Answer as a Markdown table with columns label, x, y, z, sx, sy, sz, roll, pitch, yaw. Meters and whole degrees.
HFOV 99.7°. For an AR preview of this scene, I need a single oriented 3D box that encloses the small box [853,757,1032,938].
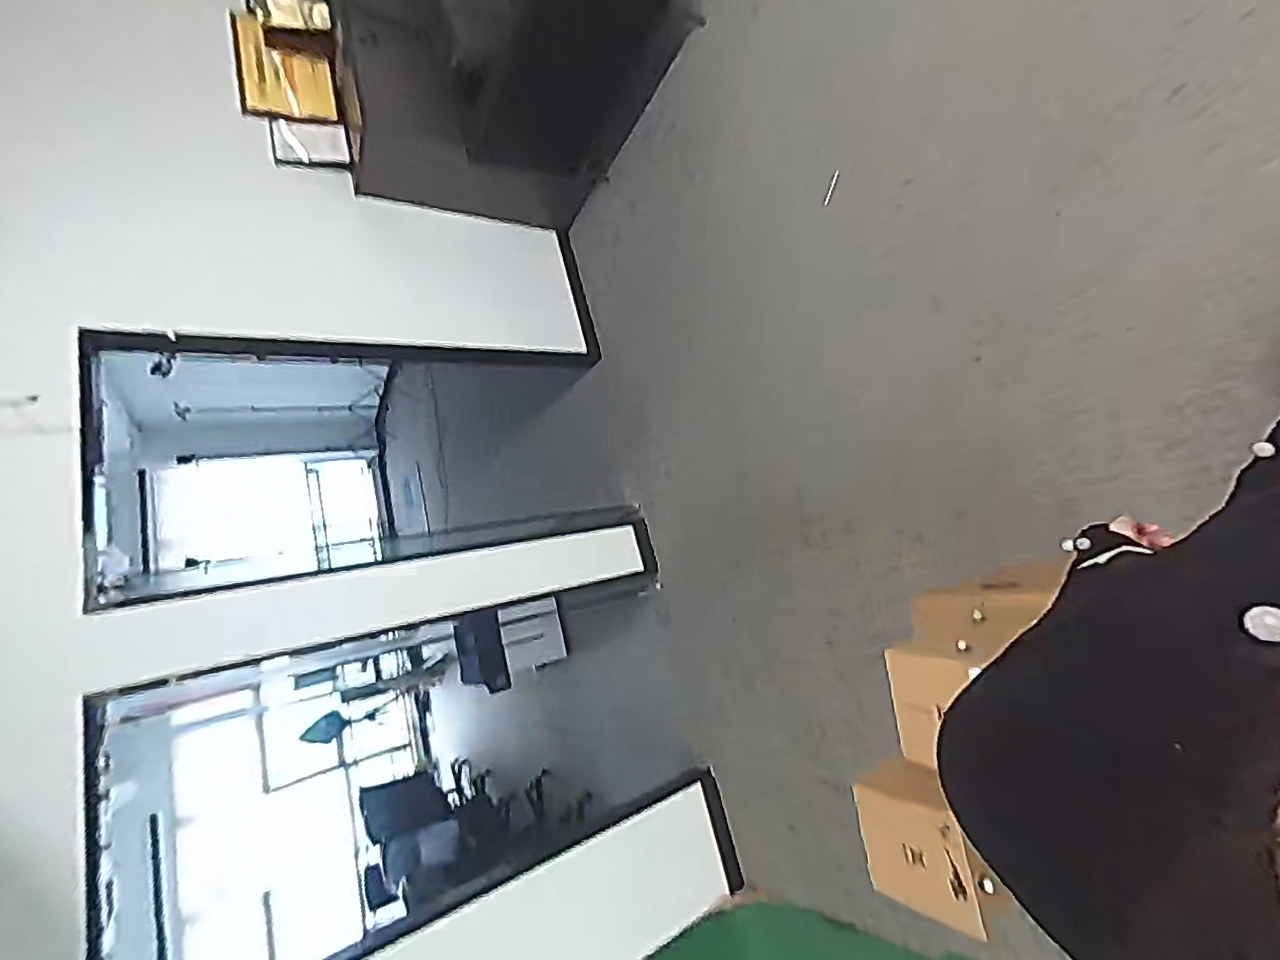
| label | x | y | z | sx | sy | sz | roll | pitch | yaw |
| --- | --- | --- | --- | --- | --- | --- | --- | --- | --- |
| small box | 0.479 | 0.562 | 0.864 | 0.179 | 0.176 | 0.168 | -20 | 78 | 56 |

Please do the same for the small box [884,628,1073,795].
| label | x | y | z | sx | sy | sz | roll | pitch | yaw |
| --- | --- | --- | --- | --- | --- | --- | --- | --- | --- |
| small box | 0.501 | 0.323 | 0.799 | 0.179 | 0.176 | 0.168 | -16 | 81 | 59 |
